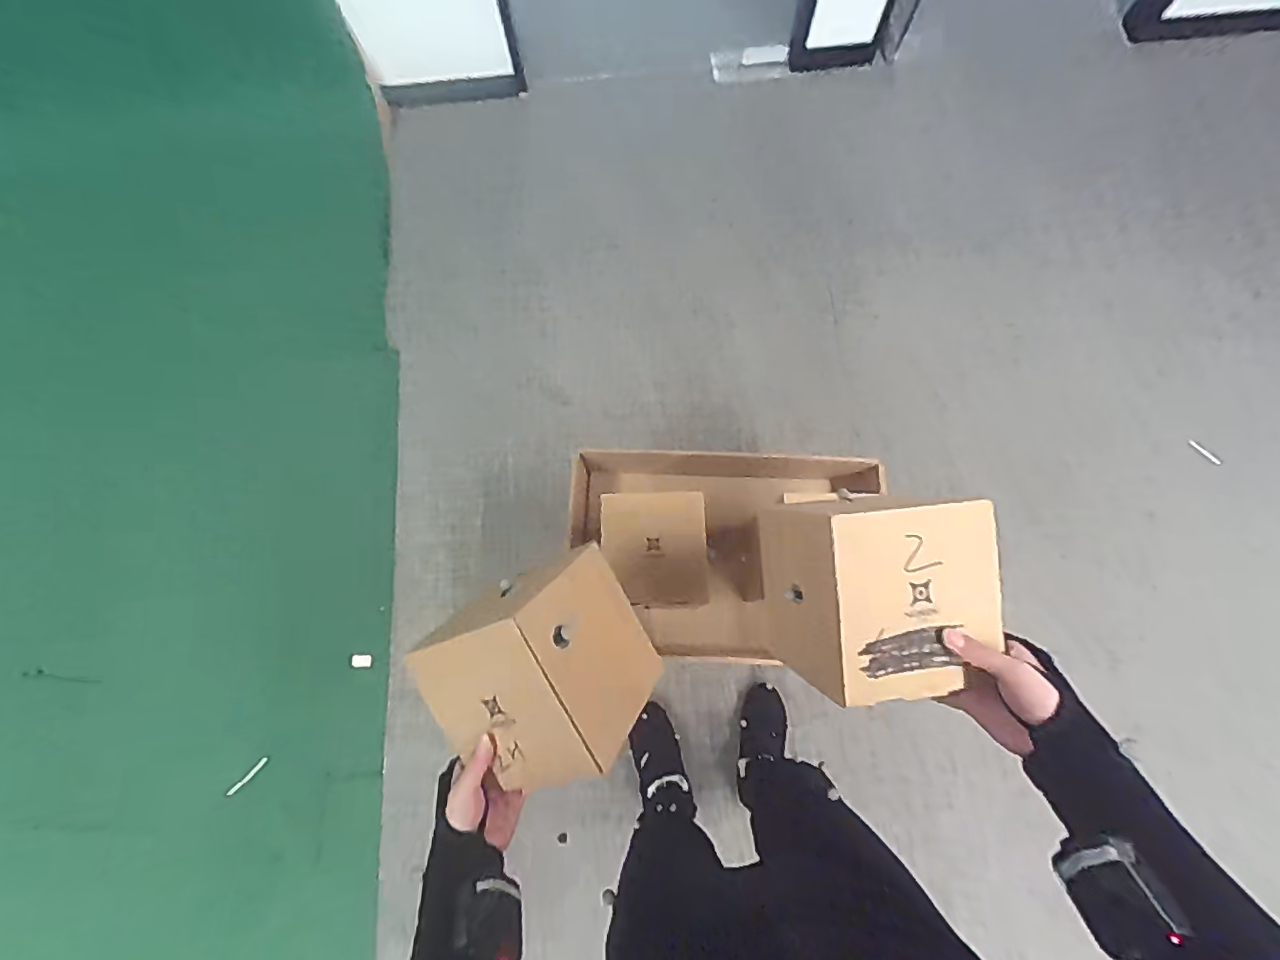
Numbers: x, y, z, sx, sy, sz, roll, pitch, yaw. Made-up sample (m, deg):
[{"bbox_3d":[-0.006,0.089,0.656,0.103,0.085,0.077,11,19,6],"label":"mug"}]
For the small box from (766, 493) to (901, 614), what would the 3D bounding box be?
[{"bbox_3d":[0.308,0.128,0.894,0.168,0.176,0.179,2,74,1],"label":"small box"}]

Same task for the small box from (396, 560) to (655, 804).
[{"bbox_3d":[-0.110,0.202,0.579,0.168,0.176,0.179,-24,97,27],"label":"small box"}]

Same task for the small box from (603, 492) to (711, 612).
[{"bbox_3d":[0.024,0.126,0.905,0.168,0.176,0.179,-2,74,0],"label":"small box"}]
